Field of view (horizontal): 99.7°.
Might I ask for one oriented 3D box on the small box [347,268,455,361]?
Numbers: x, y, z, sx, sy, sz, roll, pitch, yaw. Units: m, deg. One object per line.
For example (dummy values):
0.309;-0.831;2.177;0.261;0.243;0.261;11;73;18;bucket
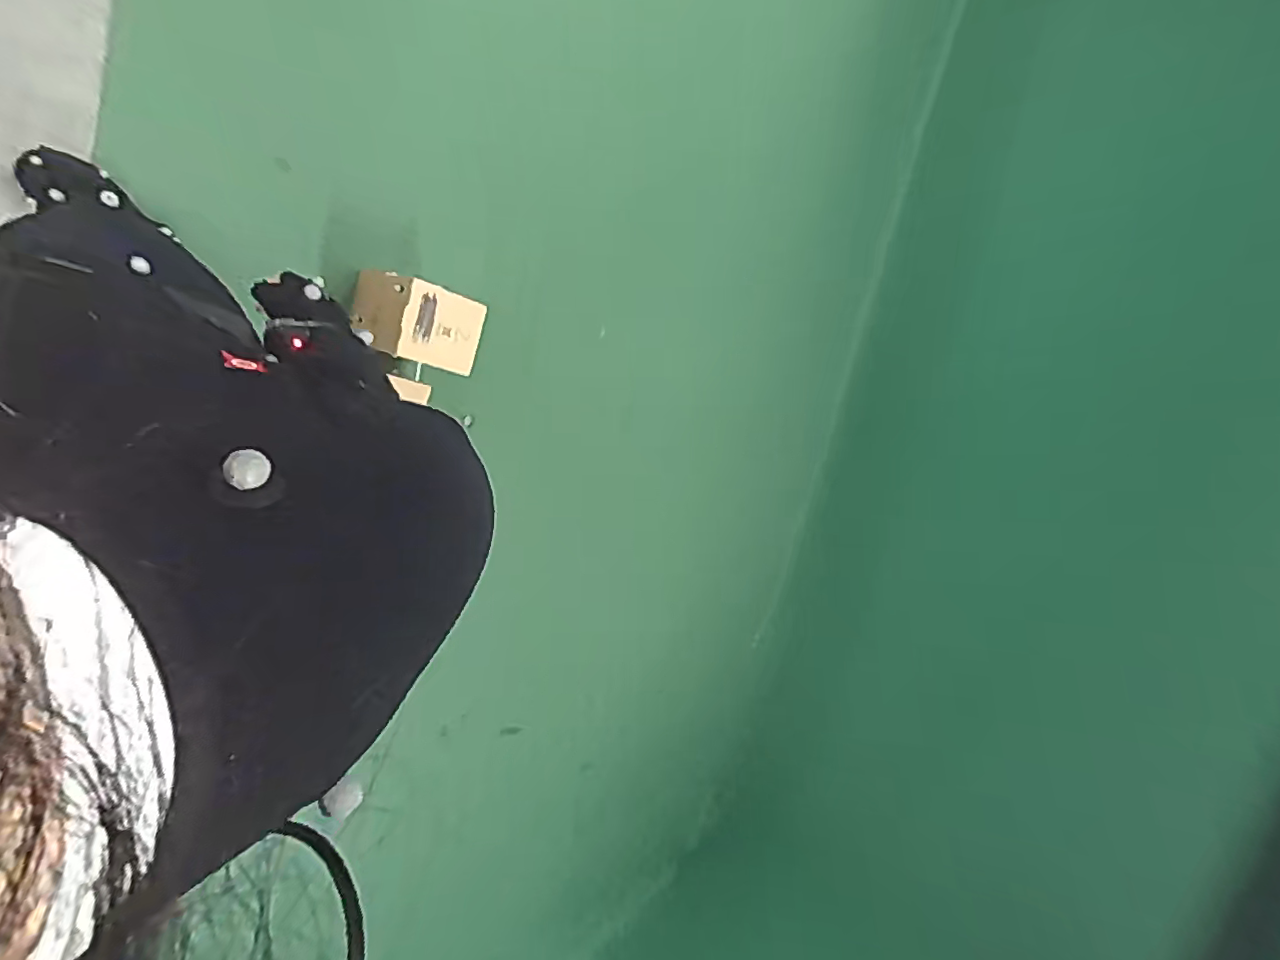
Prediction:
-0.597;-0.409;1.340;0.179;0.176;0.168;14;97;-47;small box
